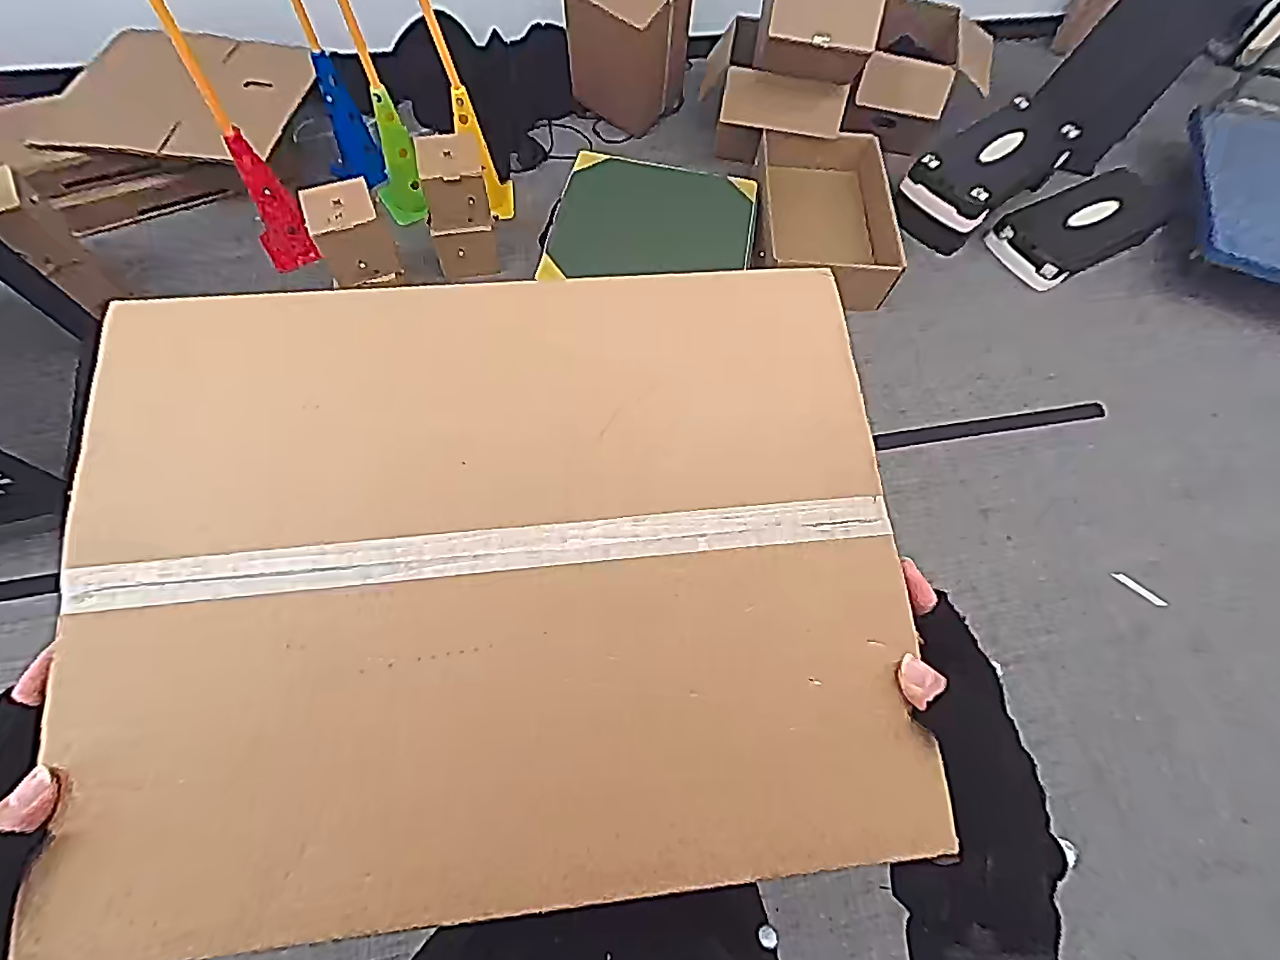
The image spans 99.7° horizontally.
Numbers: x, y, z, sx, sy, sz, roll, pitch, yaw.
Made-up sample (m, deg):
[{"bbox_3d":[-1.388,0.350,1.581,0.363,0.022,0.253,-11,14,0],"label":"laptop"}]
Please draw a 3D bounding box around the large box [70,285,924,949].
[{"bbox_3d":[-0.079,0.079,0.433,0.408,0.320,0.320,-5,76,-5],"label":"large box"}]
